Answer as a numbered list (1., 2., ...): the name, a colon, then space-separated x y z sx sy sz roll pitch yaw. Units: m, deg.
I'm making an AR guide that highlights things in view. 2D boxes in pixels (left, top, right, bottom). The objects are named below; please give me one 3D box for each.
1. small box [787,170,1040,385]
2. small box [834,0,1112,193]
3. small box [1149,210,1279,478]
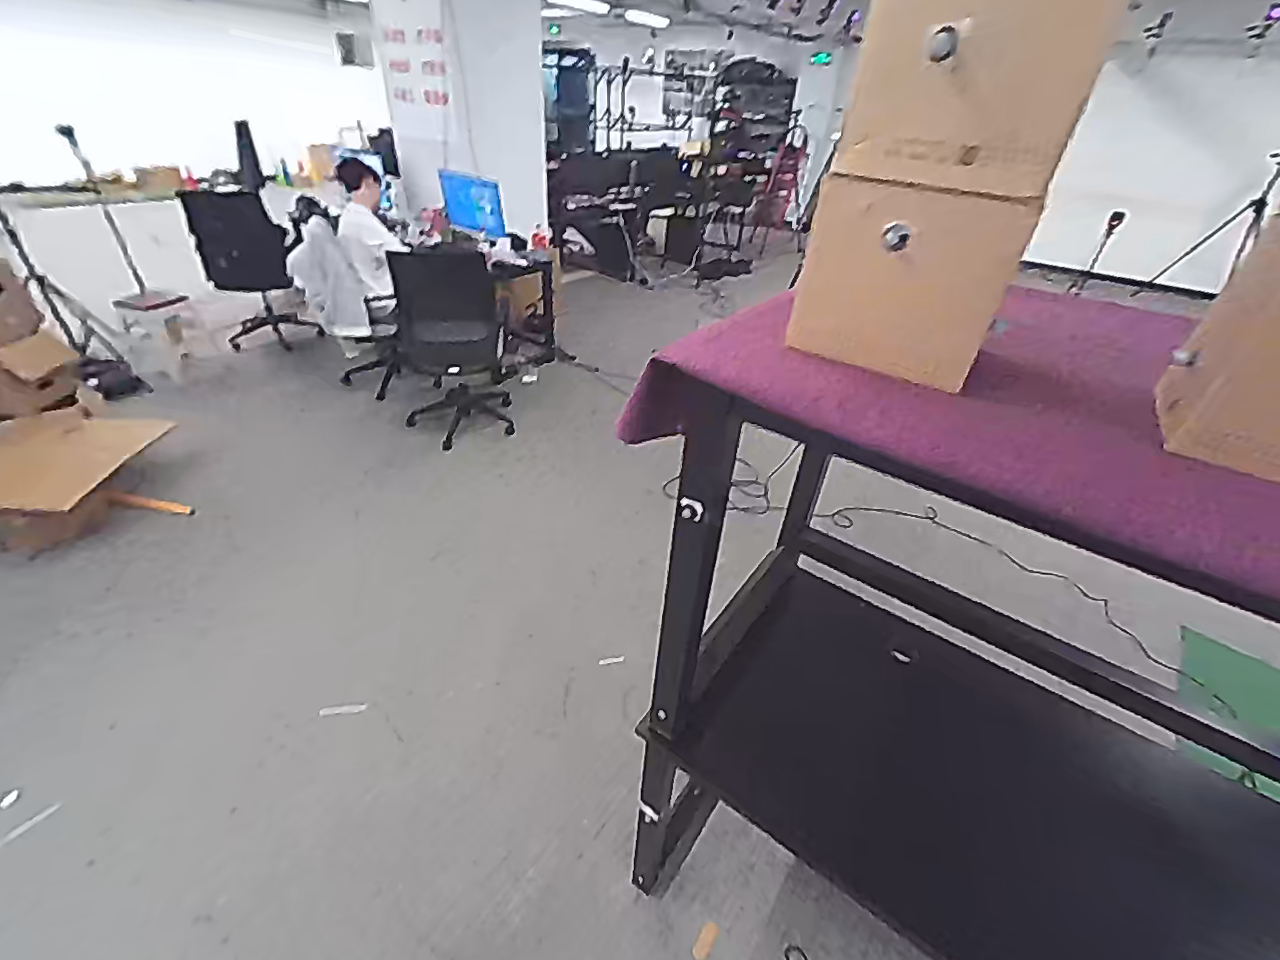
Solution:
1. small box: 0.271 -0.214 0.555 0.179 0.176 0.168 24 40 25
2. small box: 0.283 -0.349 0.466 0.168 0.176 0.179 22 38 24
3. small box: 0.544 -0.094 0.411 0.179 0.176 0.168 25 39 28
